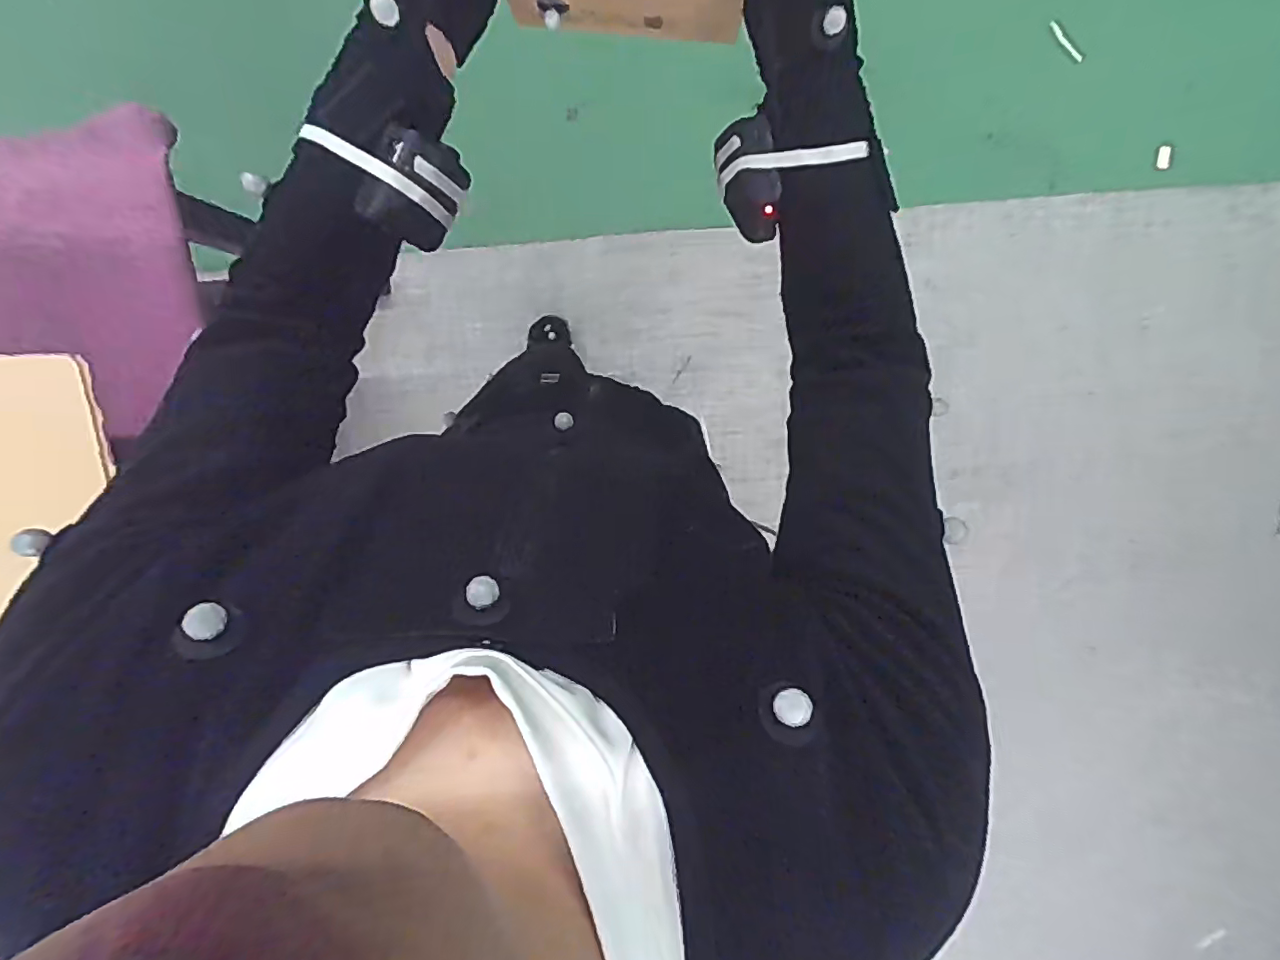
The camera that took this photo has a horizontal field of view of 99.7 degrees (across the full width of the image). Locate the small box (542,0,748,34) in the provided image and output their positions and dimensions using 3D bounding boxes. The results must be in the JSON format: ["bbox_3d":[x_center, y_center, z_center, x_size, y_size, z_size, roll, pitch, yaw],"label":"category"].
[{"bbox_3d":[0.000,-0.402,0.308,0.168,0.176,0.179,6,103,0],"label":"small box"}]
